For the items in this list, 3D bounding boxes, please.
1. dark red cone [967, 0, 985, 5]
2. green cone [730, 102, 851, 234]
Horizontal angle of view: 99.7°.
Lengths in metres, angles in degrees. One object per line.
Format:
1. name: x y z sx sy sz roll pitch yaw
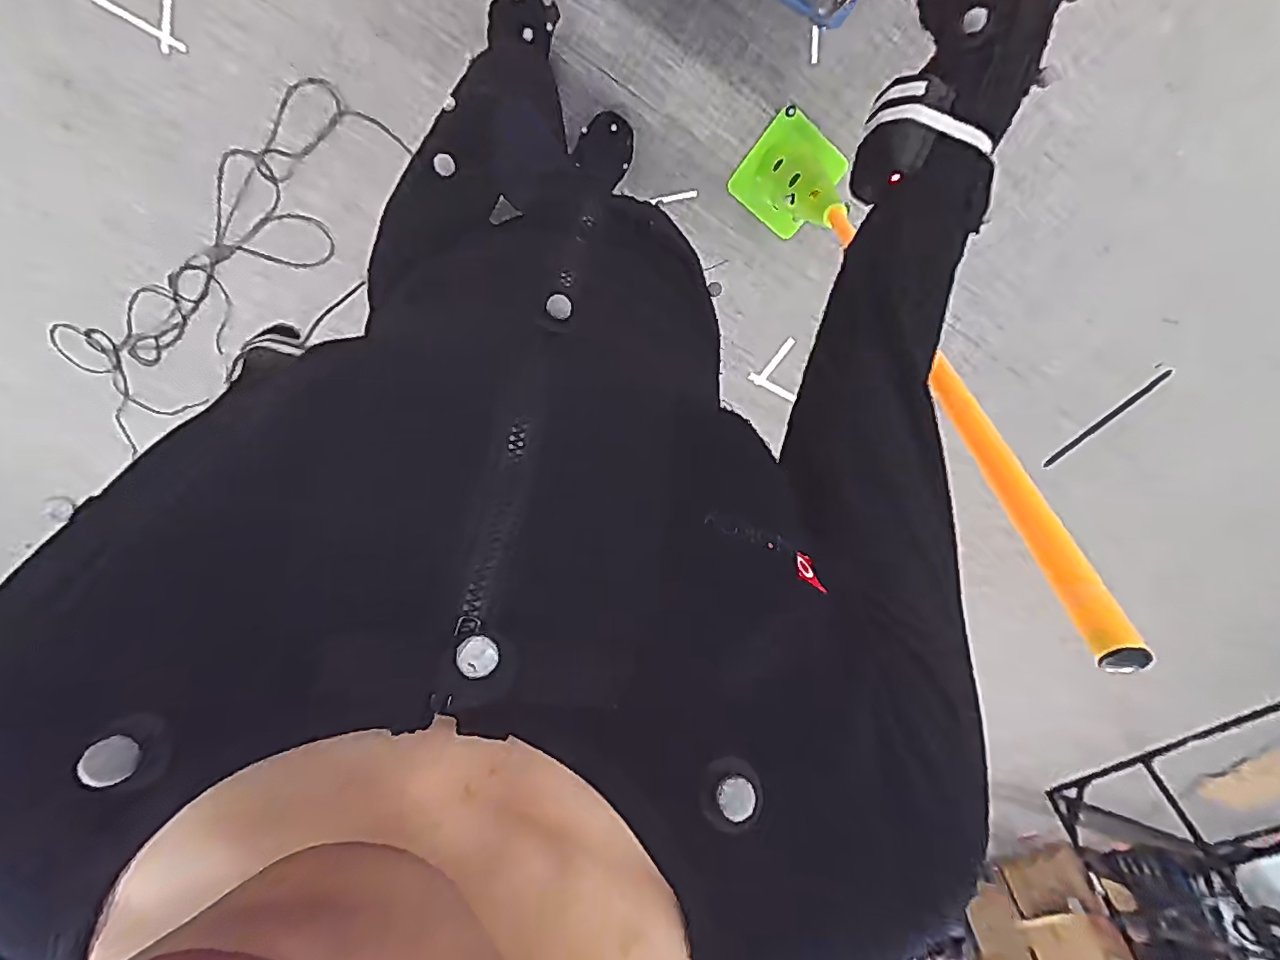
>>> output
1. dark red cone: 0.603 -0.870 0.795 0.201 0.394 0.202 24 126 -21
2. green cone: 0.333 -0.570 1.065 0.202 0.368 0.200 28 124 -23
